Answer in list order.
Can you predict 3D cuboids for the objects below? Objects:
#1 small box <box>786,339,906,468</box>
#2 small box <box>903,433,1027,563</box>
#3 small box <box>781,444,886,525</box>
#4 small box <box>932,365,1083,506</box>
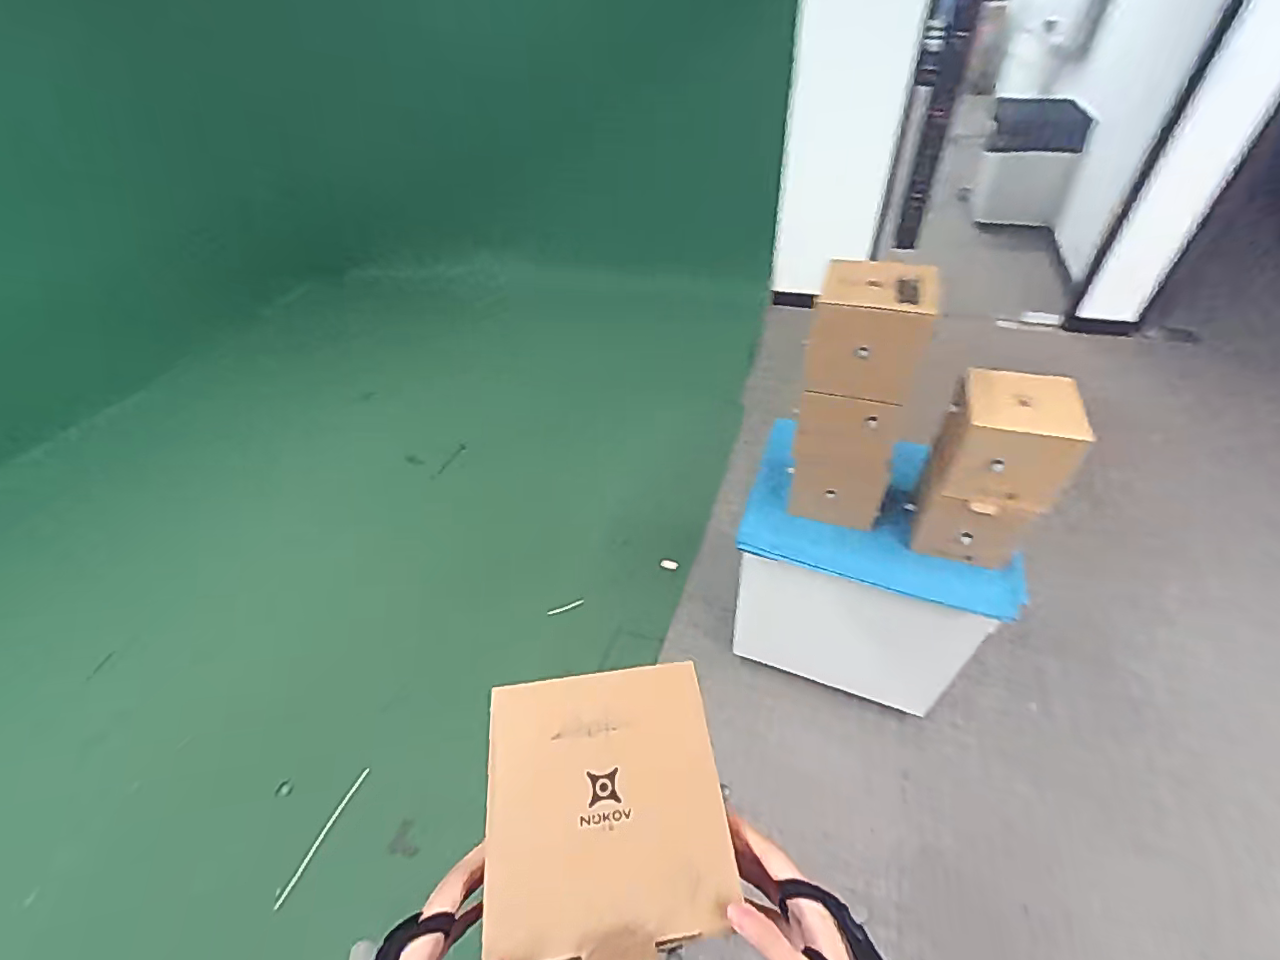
[{"bbox_3d":[0.389,-0.143,1.033,0.179,0.176,0.168,12,47,17],"label":"small box"},{"bbox_3d":[0.629,0.037,1.064,0.168,0.176,0.179,13,48,17],"label":"small box"},{"bbox_3d":[0.409,-0.026,1.147,0.179,0.176,0.168,12,47,17],"label":"small box"},{"bbox_3d":[0.626,-0.078,0.948,0.168,0.176,0.179,10,45,16],"label":"small box"}]
